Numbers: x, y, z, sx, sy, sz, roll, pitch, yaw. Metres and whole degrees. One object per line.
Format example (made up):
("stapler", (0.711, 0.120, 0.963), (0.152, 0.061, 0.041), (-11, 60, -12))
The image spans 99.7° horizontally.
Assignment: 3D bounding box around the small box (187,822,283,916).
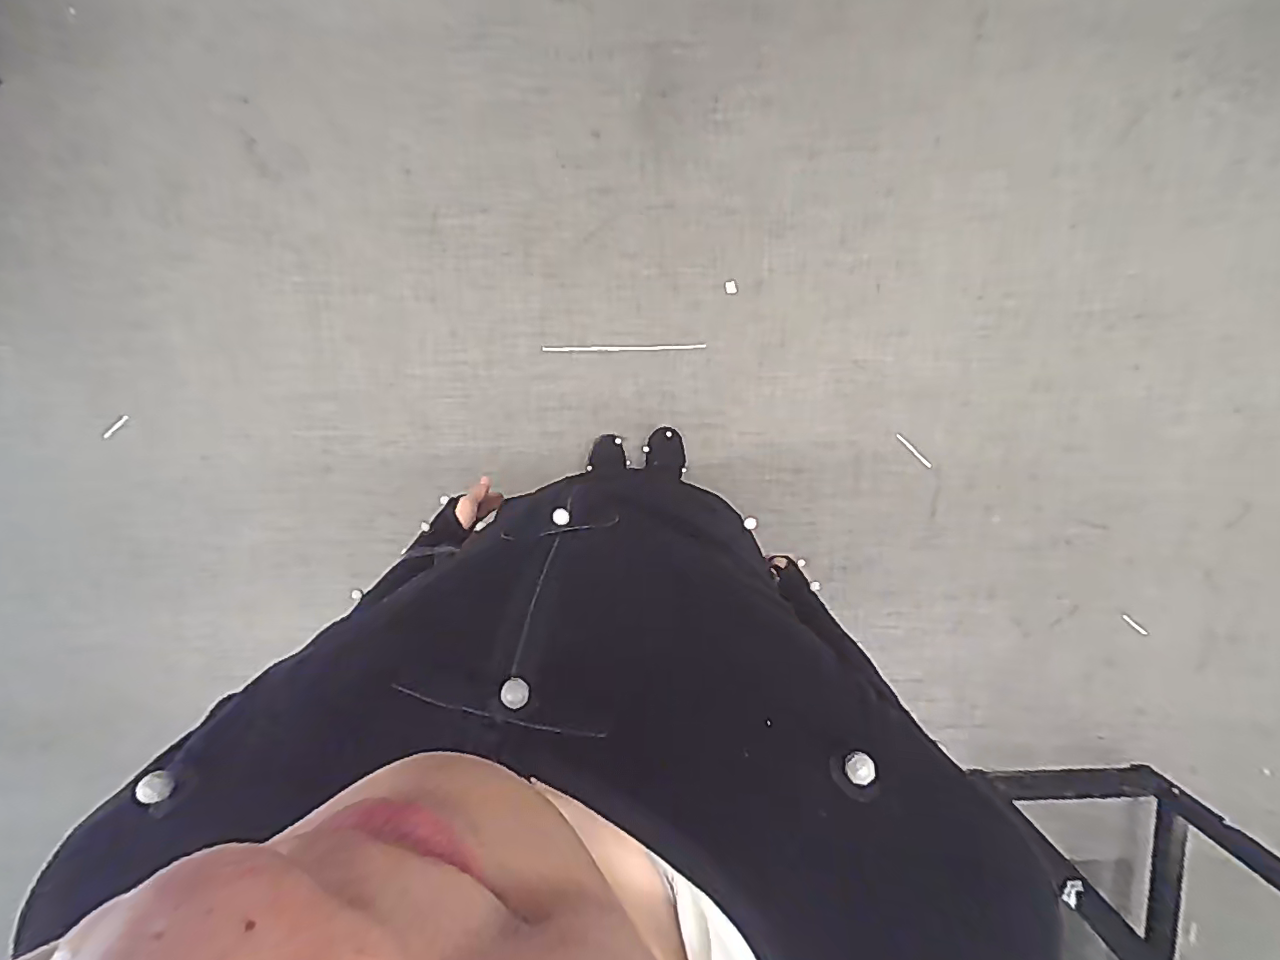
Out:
("small box", (-1.223, 1.179, 1.648), (0.179, 0.176, 0.168), (2, 96, 1))
